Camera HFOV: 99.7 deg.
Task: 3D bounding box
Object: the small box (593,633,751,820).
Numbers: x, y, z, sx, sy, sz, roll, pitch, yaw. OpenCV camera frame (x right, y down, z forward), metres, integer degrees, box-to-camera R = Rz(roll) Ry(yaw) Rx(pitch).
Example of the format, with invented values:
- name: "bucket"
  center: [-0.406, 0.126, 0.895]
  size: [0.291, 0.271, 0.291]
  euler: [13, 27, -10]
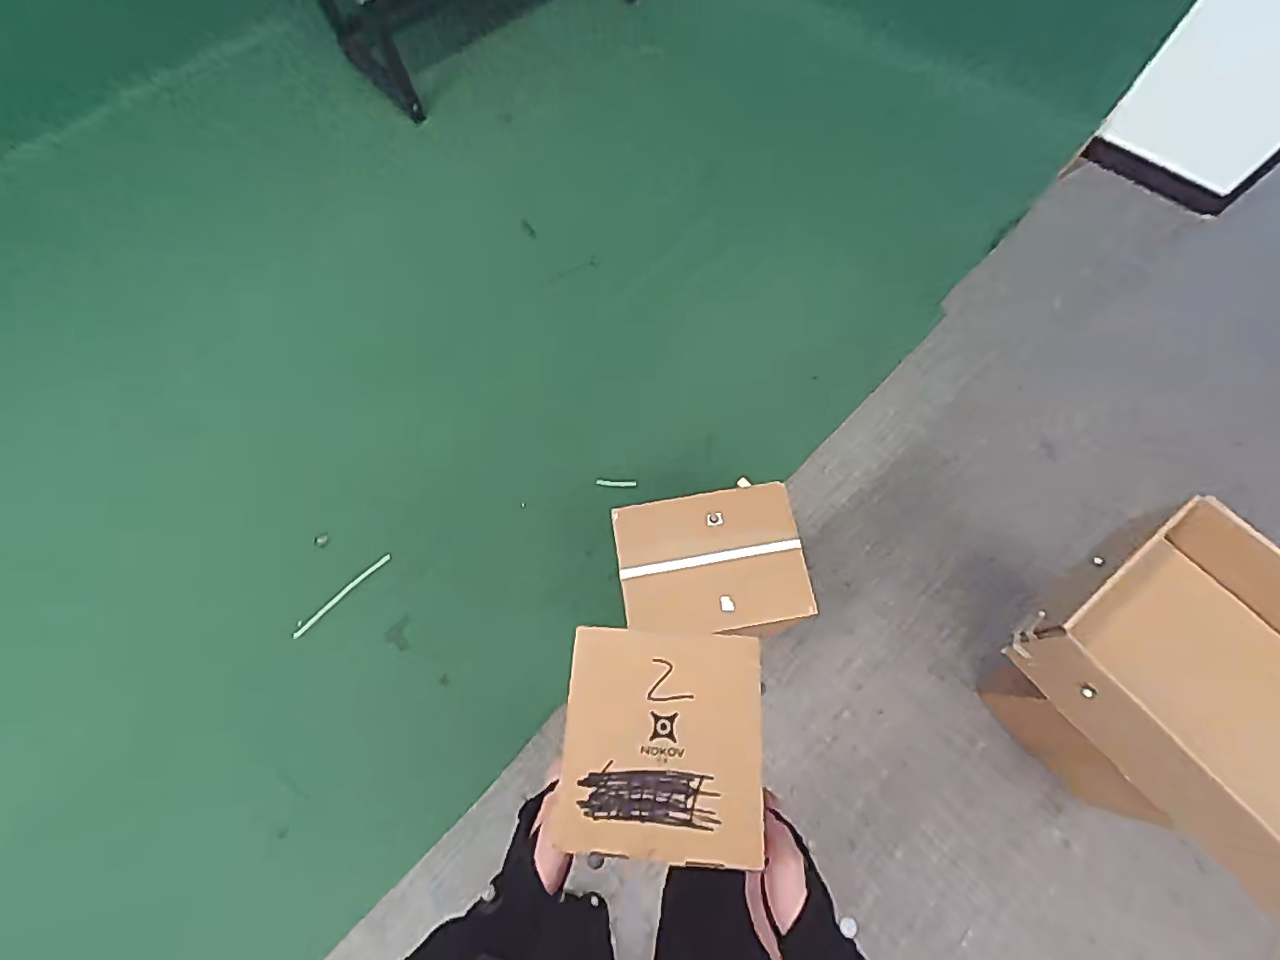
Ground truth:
- name: "small box"
  center: [0.044, 0.300, 0.675]
  size: [0.168, 0.176, 0.179]
  euler: [5, 66, 5]
